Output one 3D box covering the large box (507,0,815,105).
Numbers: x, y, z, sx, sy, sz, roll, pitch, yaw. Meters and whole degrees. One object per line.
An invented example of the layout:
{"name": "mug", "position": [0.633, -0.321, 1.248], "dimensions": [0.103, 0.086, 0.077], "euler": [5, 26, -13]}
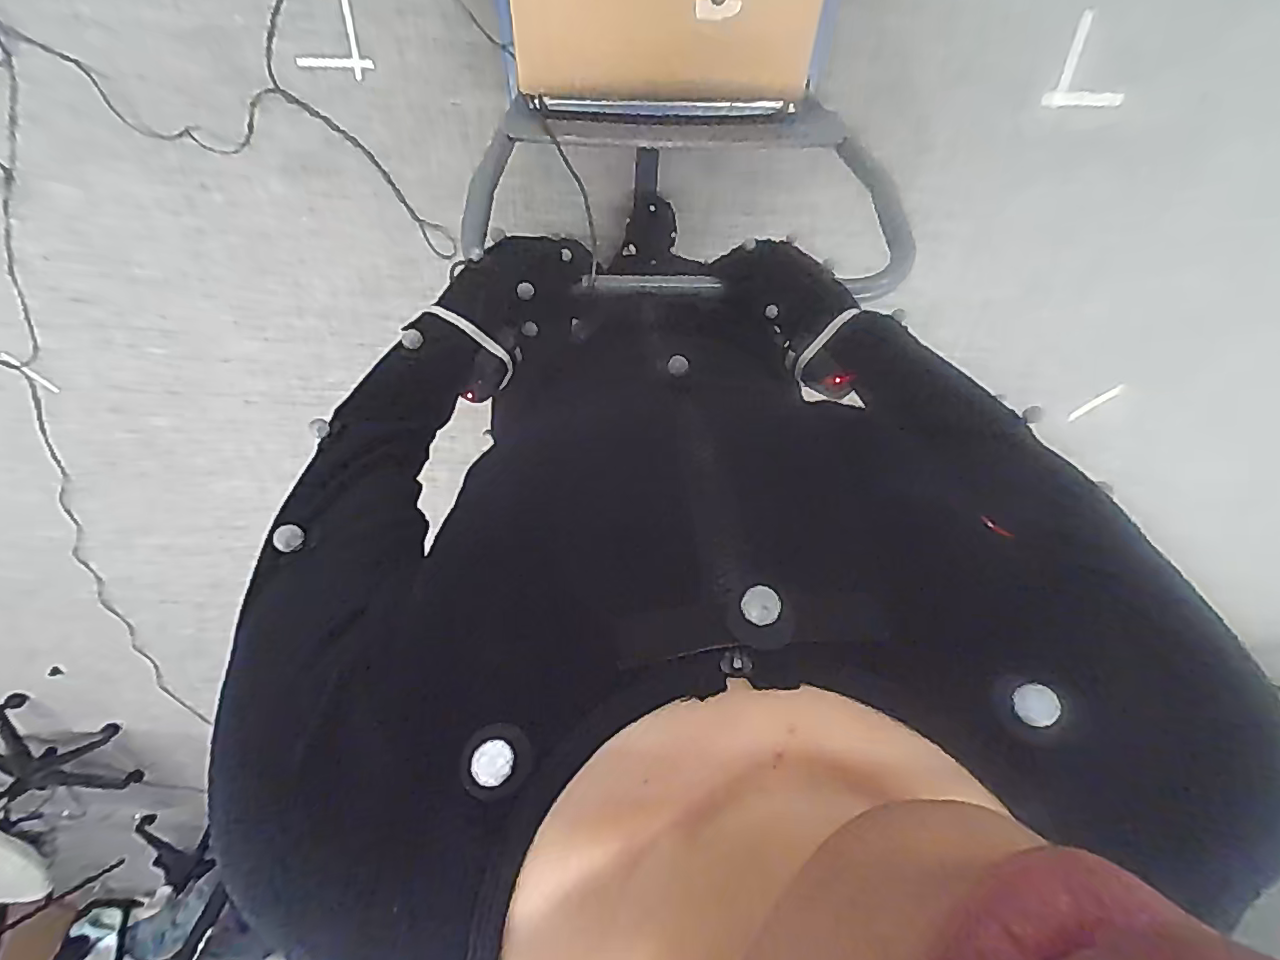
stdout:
{"name": "large box", "position": [0.021, -0.747, 0.765], "dimensions": [0.408, 0.320, 0.320], "euler": [-1, 135, -2]}
